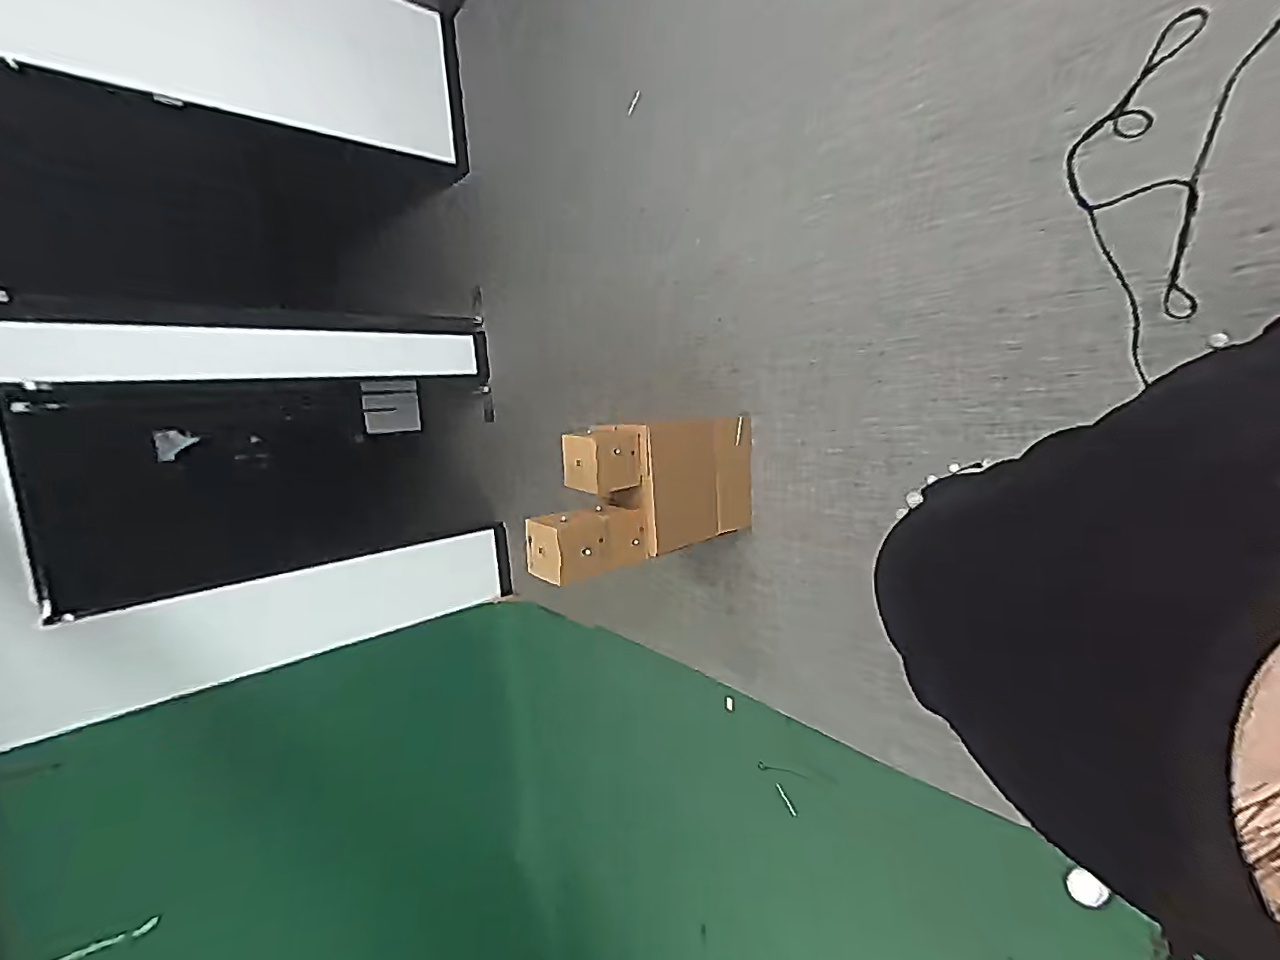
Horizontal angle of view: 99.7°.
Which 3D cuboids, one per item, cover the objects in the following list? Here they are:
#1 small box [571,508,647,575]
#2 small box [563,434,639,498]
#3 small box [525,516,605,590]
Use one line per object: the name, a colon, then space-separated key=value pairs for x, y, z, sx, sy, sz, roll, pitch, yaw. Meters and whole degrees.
small box: x=-0.096 y=0.185 z=1.688 sx=0.179 sy=0.176 sz=0.168 roll=7 pitch=101 yaw=47
small box: x=-0.116 y=-0.049 z=1.662 sx=0.179 sy=0.176 sz=0.168 roll=12 pitch=107 yaw=49
small box: x=-0.215 y=0.205 z=1.577 sx=0.179 sy=0.176 sz=0.168 roll=8 pitch=102 yaw=47
